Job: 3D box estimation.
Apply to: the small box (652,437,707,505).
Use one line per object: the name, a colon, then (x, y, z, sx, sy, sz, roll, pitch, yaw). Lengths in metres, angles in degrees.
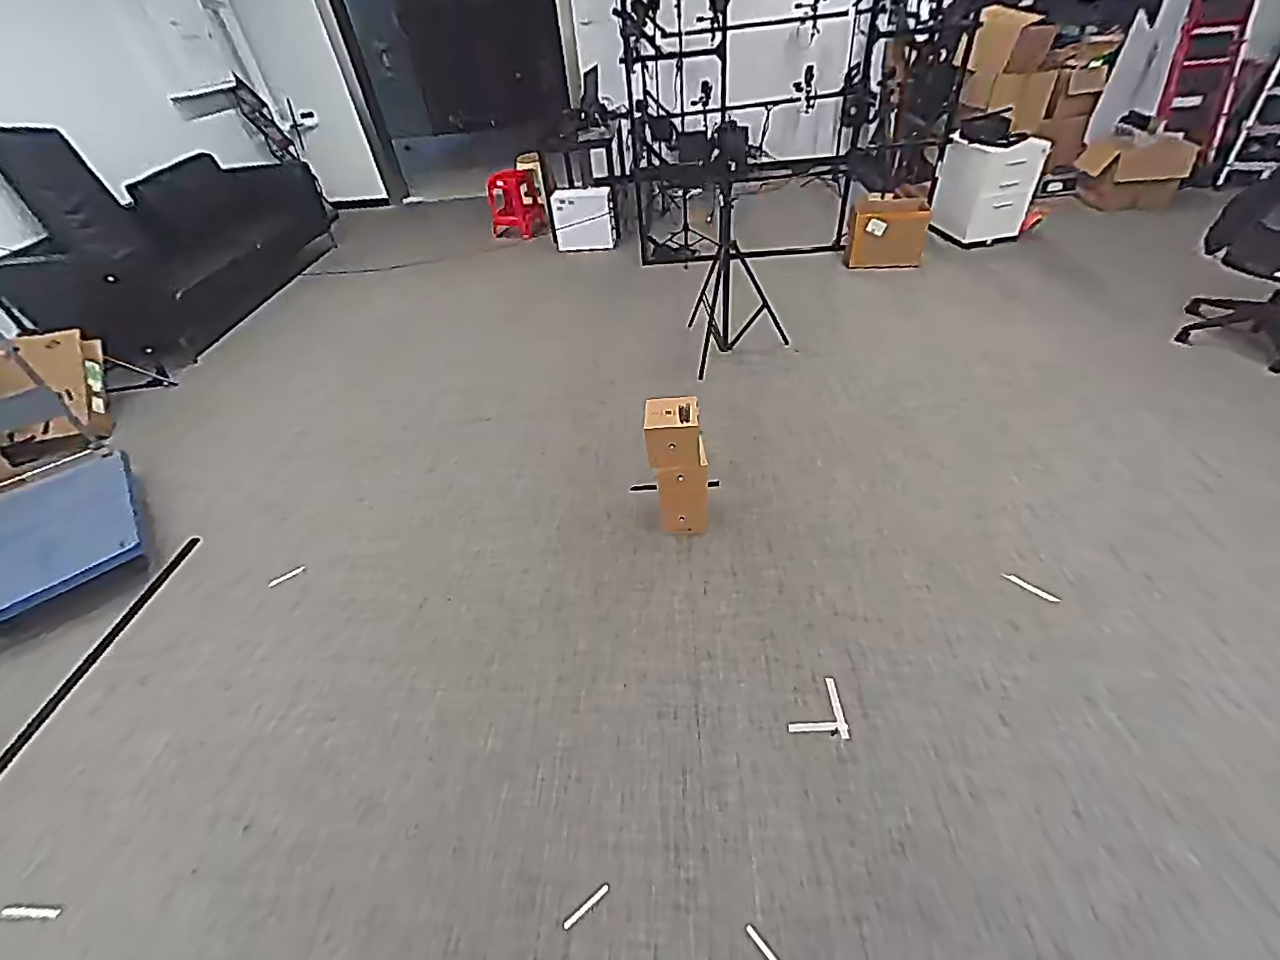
small box: (0.142, -0.029, 1.925, 0.179, 0.176, 0.168, -7, 42, 1)

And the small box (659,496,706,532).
small box: (0.163, 0.084, 2.039, 0.168, 0.176, 0.179, -1, 42, 7)
